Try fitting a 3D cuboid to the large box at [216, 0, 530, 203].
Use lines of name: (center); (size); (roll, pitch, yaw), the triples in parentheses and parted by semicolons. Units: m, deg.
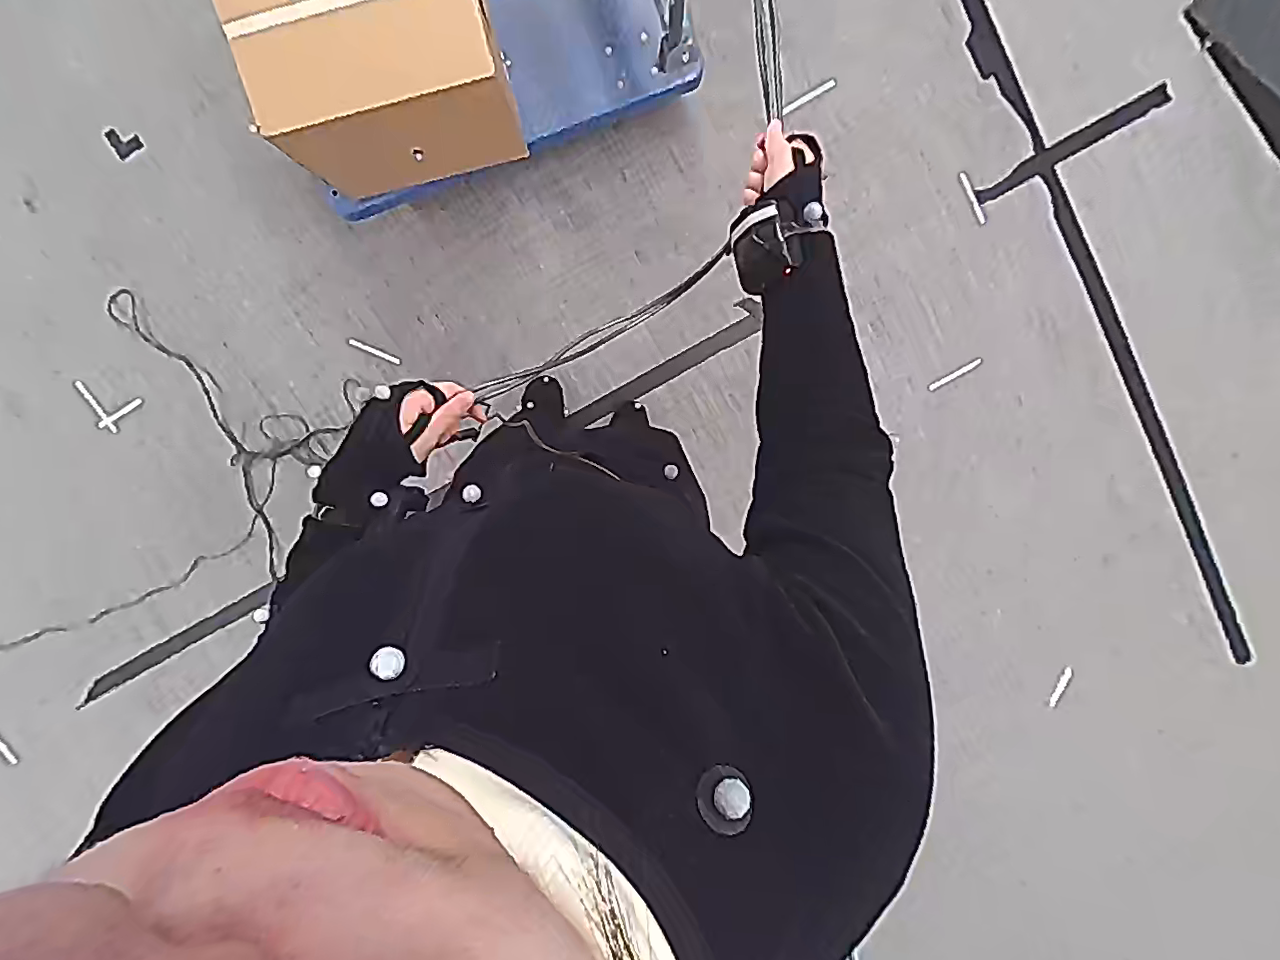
large box: (-0.464, -0.772, 1.006); (0.408, 0.320, 0.320); (-14, 99, 2)
